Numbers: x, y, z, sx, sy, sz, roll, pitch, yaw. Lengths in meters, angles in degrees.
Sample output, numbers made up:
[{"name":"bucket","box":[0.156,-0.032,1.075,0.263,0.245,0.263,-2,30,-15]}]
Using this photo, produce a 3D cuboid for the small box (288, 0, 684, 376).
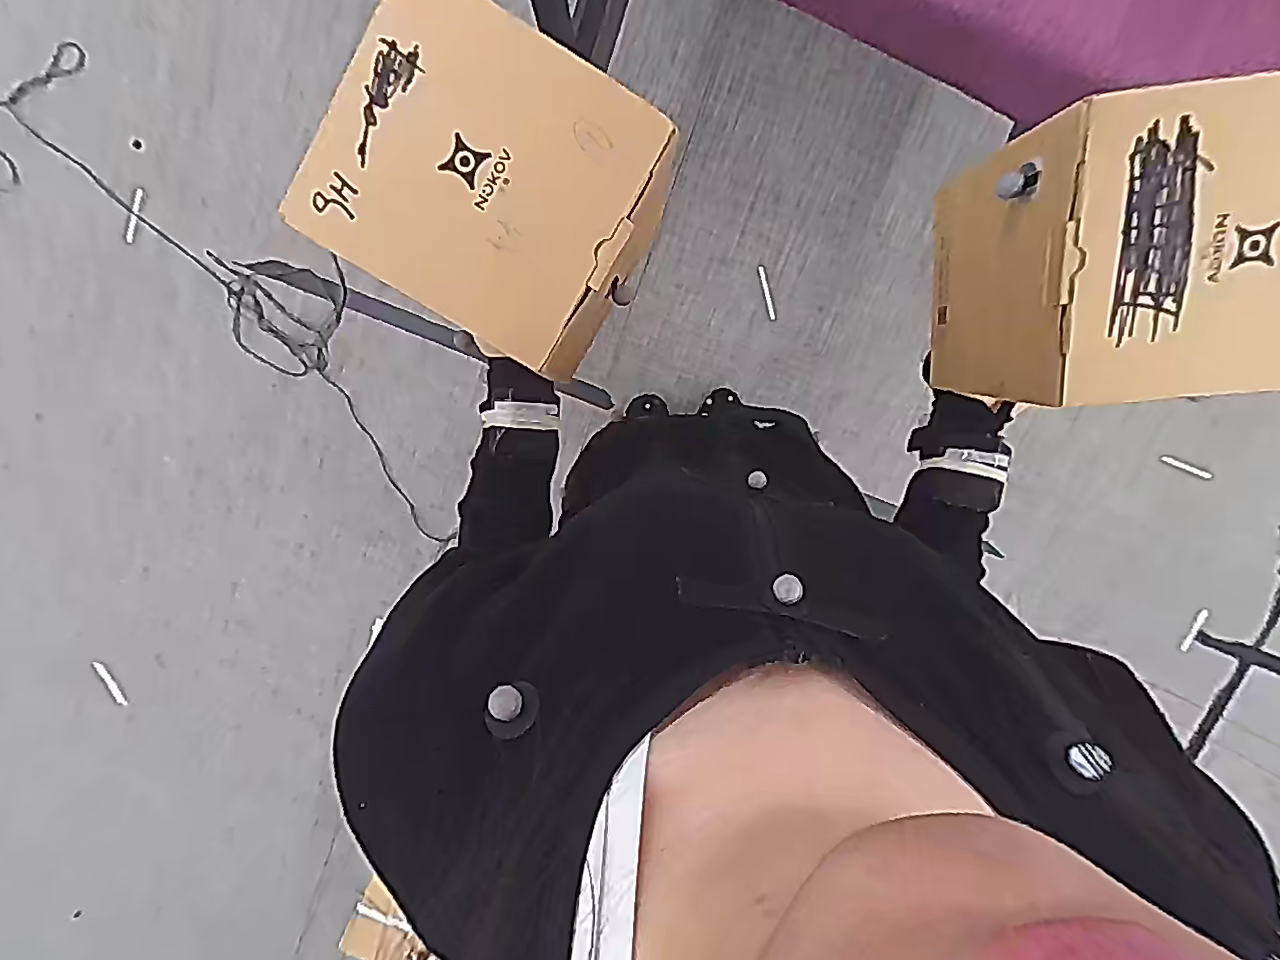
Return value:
[{"name":"small box","box":[-0.092,-0.189,0.389,0.179,0.176,0.168,30,95,-7]}]
